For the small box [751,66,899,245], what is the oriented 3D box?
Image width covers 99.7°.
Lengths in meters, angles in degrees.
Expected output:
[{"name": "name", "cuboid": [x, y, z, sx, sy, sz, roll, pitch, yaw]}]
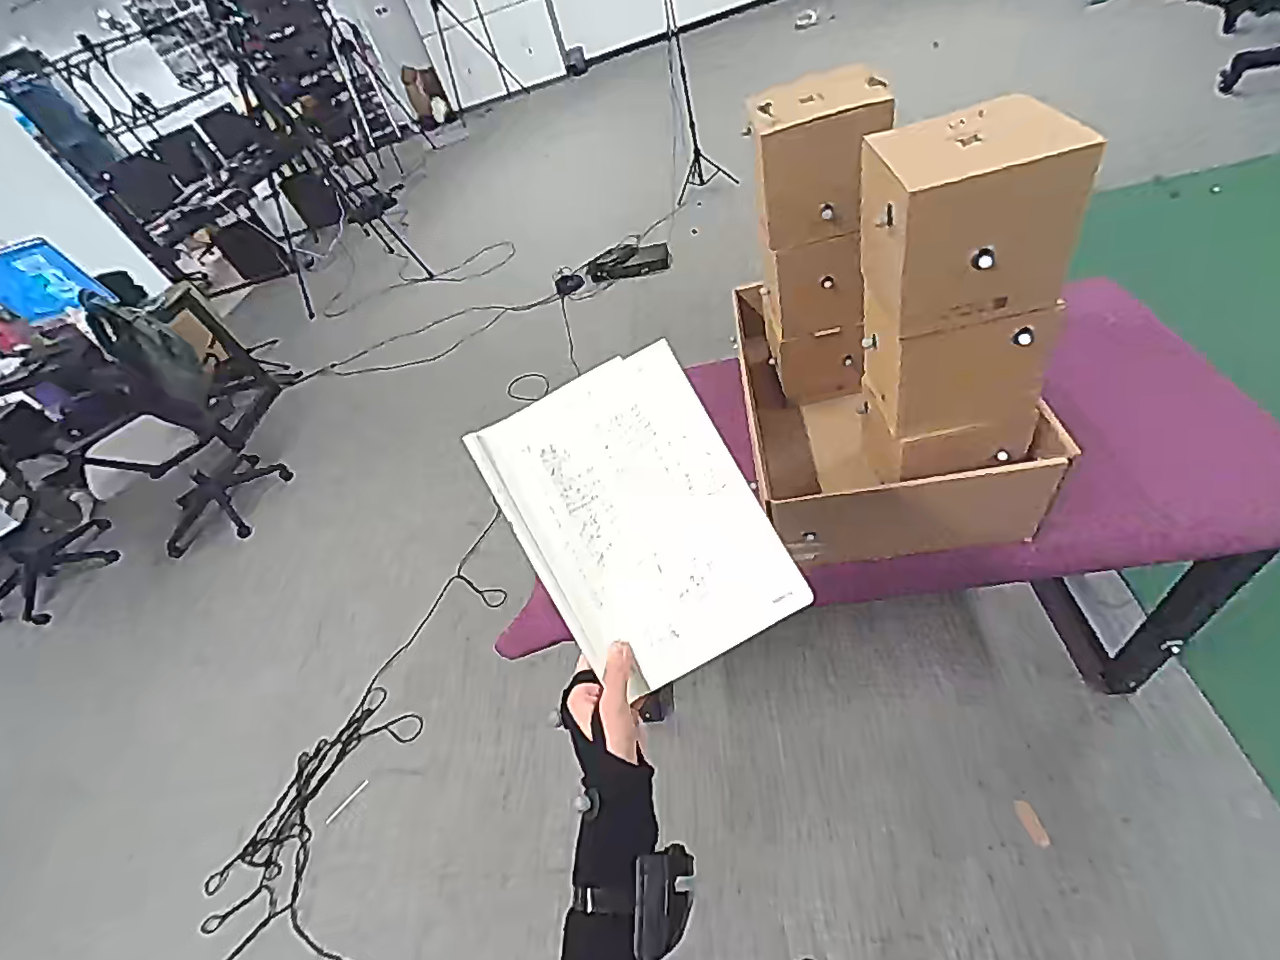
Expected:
[{"name": "small box", "cuboid": [0.270, -0.486, 0.820, 0.179, 0.176, 0.168, -9, 48, 11]}]

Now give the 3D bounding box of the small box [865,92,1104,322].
[{"name": "small box", "cuboid": [0.359, -0.294, 0.606, 0.168, 0.176, 0.179, -9, 45, 12]}]

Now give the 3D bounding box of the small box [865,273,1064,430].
[{"name": "small box", "cuboid": [0.409, -0.185, 0.720, 0.179, 0.176, 0.168, -9, 45, 13]}]

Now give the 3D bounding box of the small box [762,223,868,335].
[{"name": "small box", "cuboid": [0.314, -0.378, 0.936, 0.179, 0.176, 0.168, -11, 47, 10]}]
